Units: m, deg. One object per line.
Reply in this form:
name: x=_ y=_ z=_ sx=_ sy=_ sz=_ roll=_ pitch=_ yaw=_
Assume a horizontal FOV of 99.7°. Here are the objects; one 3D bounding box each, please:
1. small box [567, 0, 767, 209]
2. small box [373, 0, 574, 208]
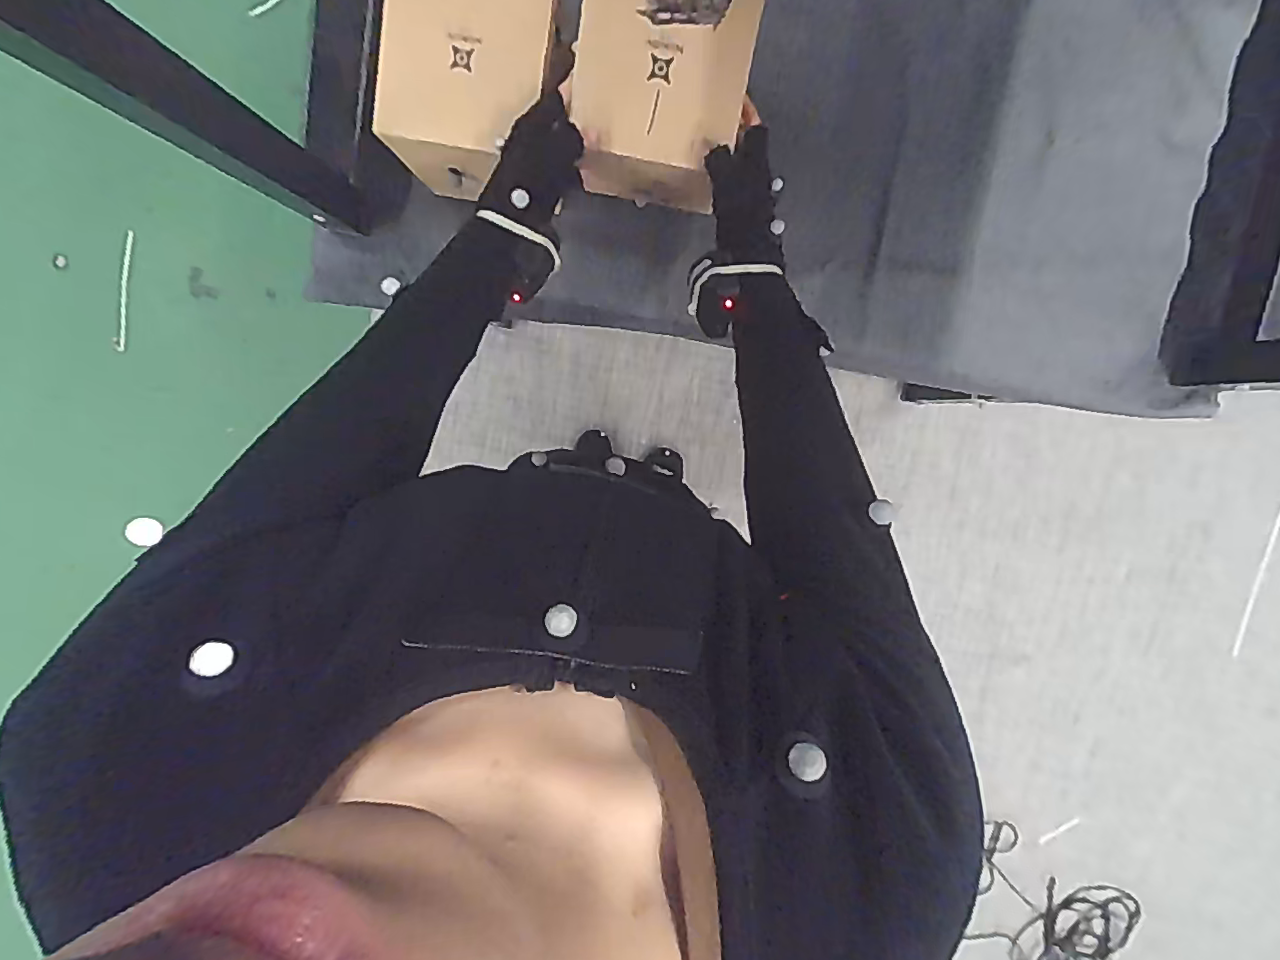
small box: x=0.025 y=-0.415 z=0.579 sx=0.168 sy=0.176 sz=0.179 roll=11 pitch=105 yaw=-1
small box: x=-0.172 y=-0.432 z=0.607 sx=0.168 sy=0.176 sz=0.179 roll=9 pitch=97 yaw=-1
